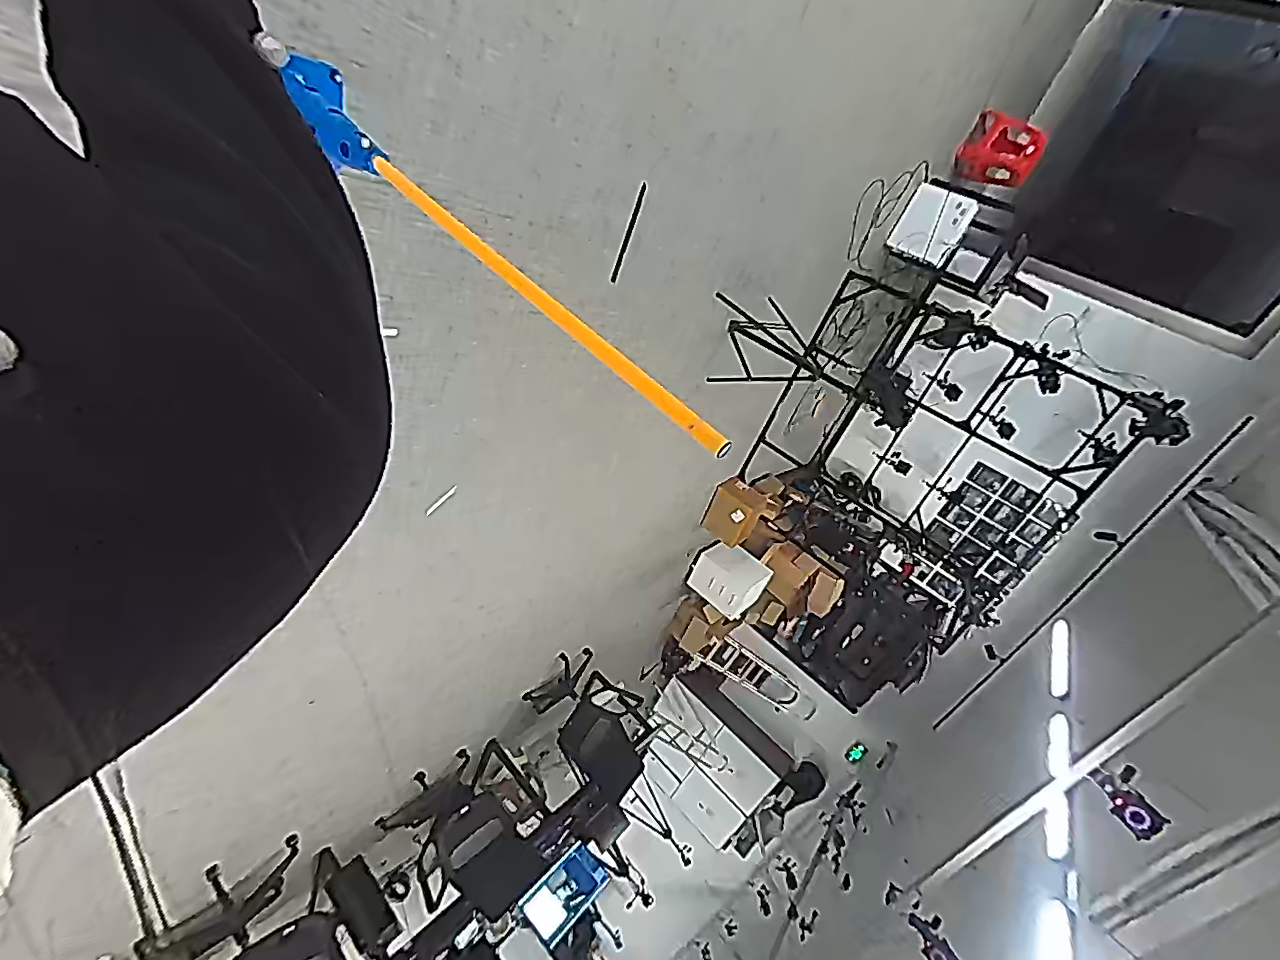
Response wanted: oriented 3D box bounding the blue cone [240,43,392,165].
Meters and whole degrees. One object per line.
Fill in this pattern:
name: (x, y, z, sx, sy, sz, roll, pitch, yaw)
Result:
blue cone: (-0.595, -0.679, 1.051, 0.193, 0.380, 0.192, -20, 139, -49)
